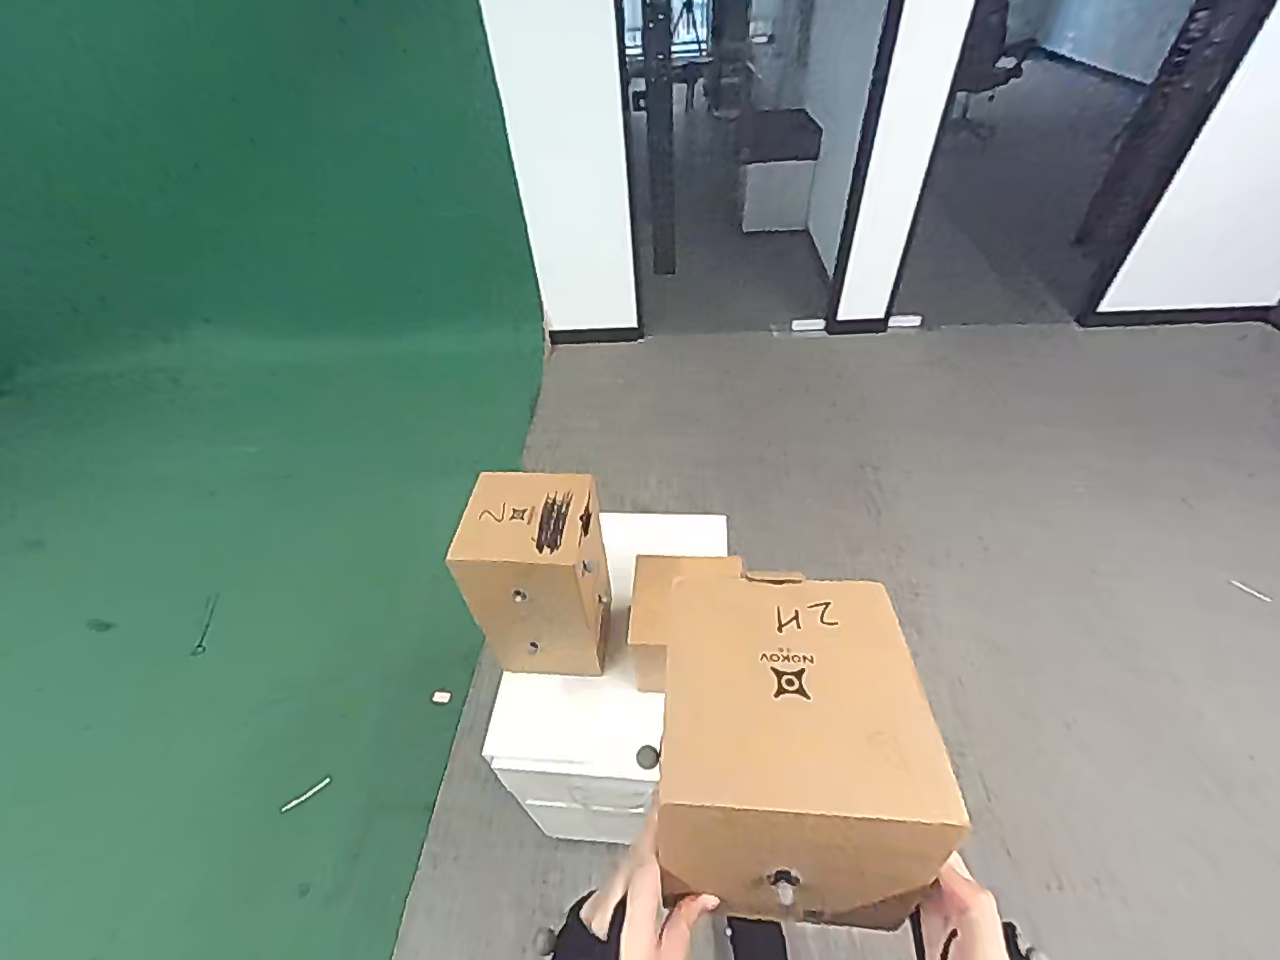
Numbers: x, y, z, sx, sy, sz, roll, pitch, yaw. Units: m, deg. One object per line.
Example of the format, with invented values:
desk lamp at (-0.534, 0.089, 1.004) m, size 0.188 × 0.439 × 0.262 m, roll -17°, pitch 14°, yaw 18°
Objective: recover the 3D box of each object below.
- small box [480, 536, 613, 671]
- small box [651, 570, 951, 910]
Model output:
small box at (-0.148, 0.213, 0.928) m, size 0.179 × 0.176 × 0.168 m, roll 1°, pitch 47°, yaw 5°
small box at (0.099, 0.191, 0.409) m, size 0.168 × 0.176 × 0.179 m, roll 2°, pitch 36°, yaw 5°
